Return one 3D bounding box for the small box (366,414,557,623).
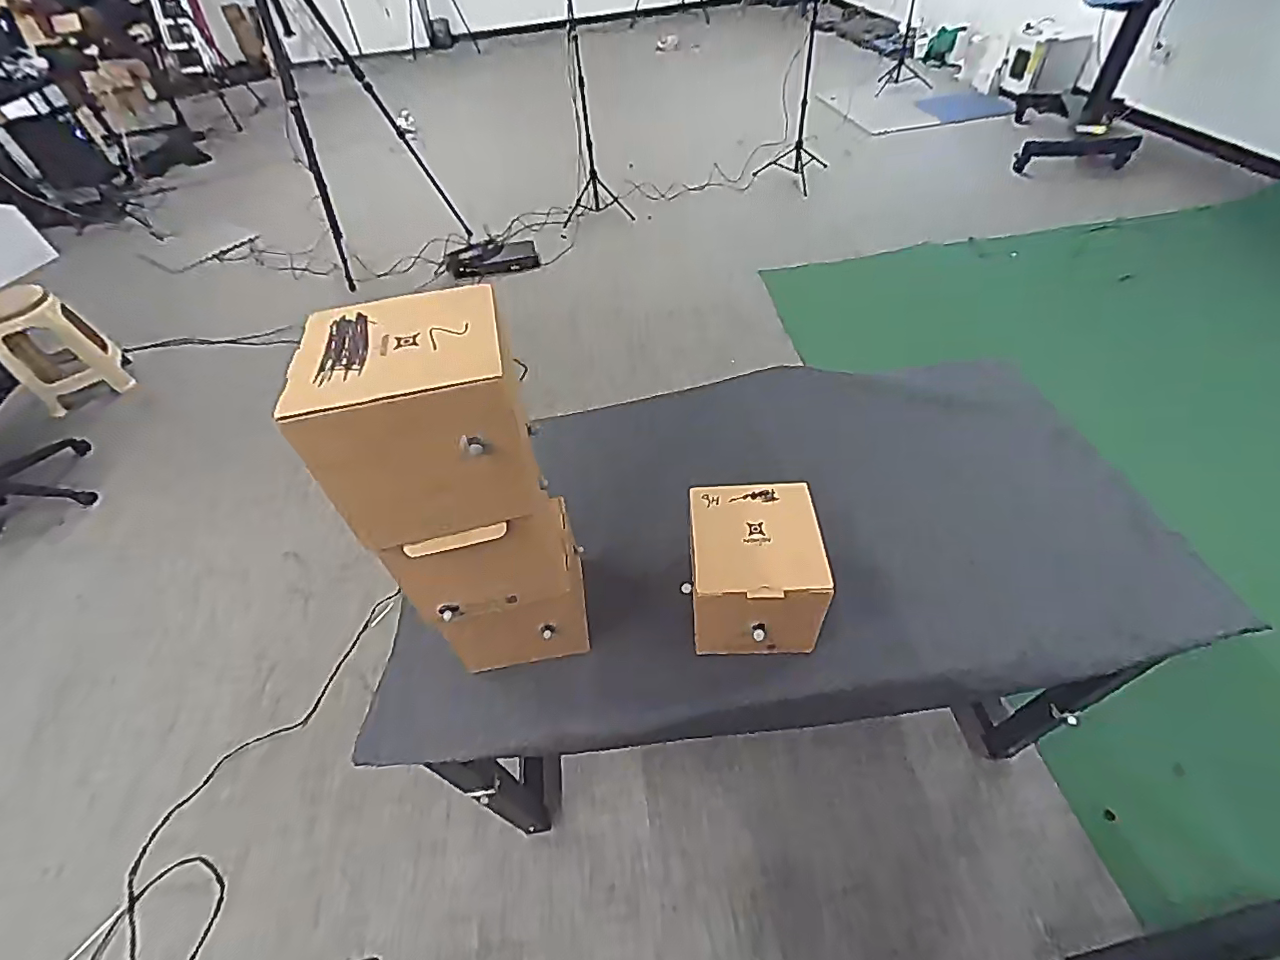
[{"bbox_3d":[-0.202,0.052,0.652,0.168,0.176,0.179,-13,46,-6],"label":"small box"}]

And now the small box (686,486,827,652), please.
[{"bbox_3d":[0.152,0.131,0.758,0.168,0.176,0.179,-3,48,5],"label":"small box"}]

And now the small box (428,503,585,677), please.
[{"bbox_3d":[-0.178,0.160,0.774,0.179,0.176,0.168,-11,46,-2],"label":"small box"}]
